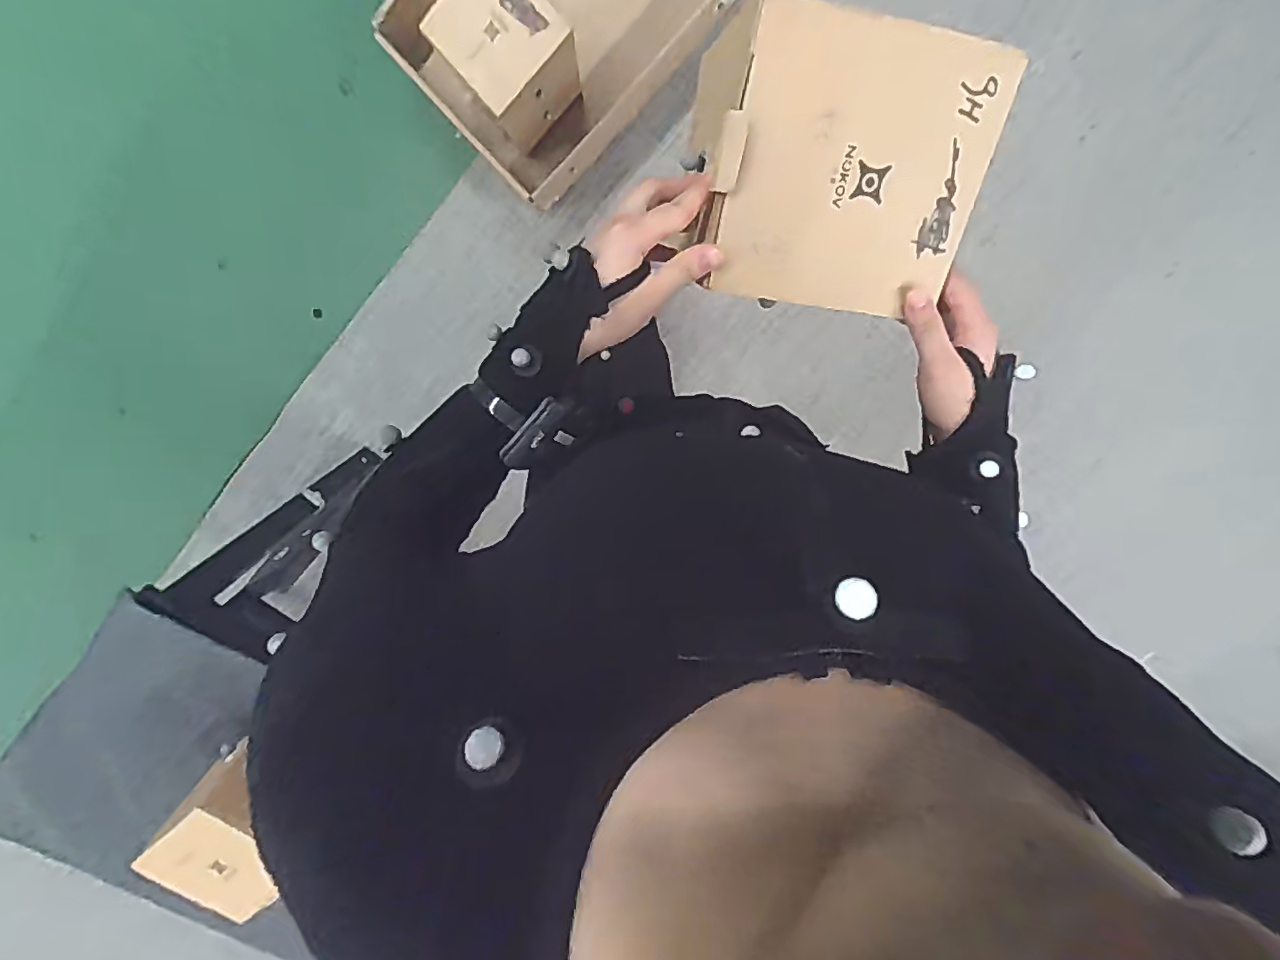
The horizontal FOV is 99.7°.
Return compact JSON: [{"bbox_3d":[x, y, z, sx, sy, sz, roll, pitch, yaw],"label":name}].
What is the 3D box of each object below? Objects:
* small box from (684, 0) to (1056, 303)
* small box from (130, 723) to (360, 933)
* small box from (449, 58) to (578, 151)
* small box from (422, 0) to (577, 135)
[{"bbox_3d":[0.140,-0.241,0.409,0.179,0.176,0.168,6,115,-10],"label":"small box"},{"bbox_3d":[-0.556,0.499,0.792,0.168,0.176,0.179,-41,107,12],"label":"small box"},{"bbox_3d":[-0.232,-0.781,1.049,0.179,0.176,0.168,-43,108,11],"label":"small box"},{"bbox_3d":[-0.220,-0.720,0.896,0.179,0.176,0.168,-42,107,12],"label":"small box"}]
